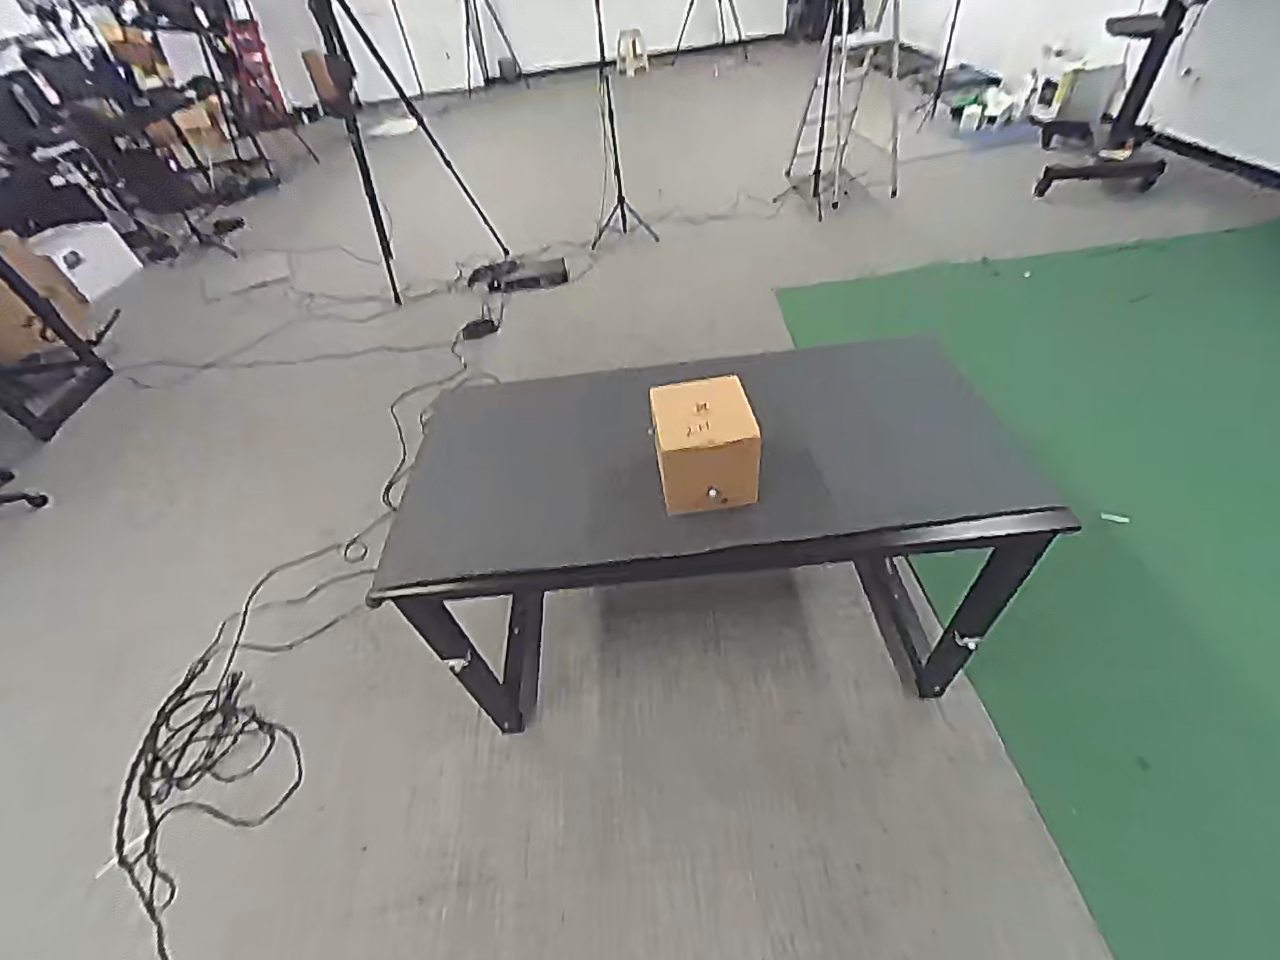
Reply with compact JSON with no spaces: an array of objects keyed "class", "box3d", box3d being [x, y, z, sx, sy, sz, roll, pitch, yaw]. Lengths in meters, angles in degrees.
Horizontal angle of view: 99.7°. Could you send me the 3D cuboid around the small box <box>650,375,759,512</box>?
[{"class":"small box","box3d":[0.113,-0.066,0.989,0.168,0.176,0.179,-9,45,0]}]
